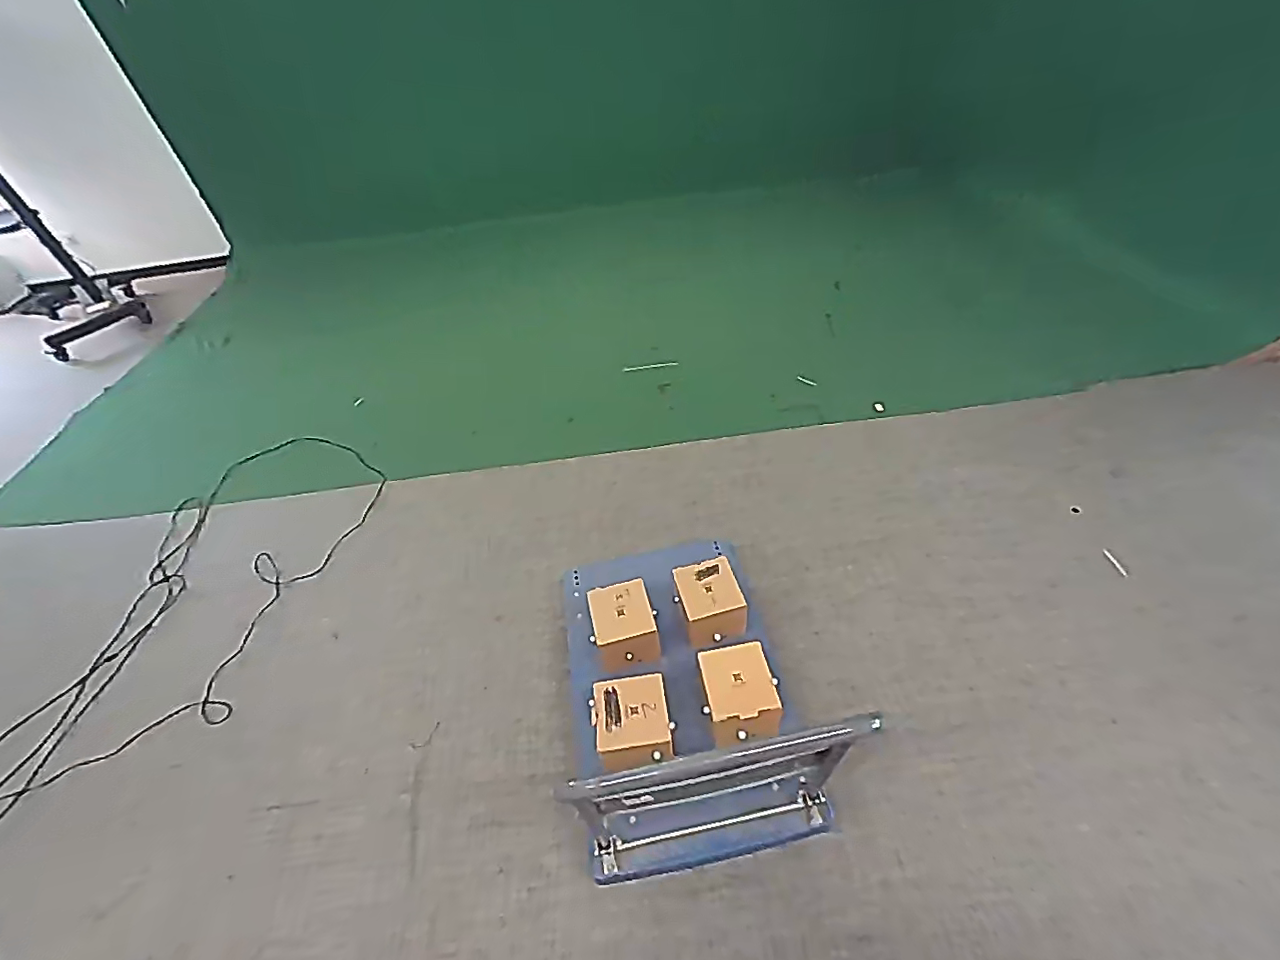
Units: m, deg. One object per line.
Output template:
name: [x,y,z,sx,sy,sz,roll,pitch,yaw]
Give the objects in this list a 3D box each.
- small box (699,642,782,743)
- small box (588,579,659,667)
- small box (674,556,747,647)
small box: [0.247,0.543,1.379,0.168,0.176,0.179,-10,46,-3]
small box: [-0.045,0.414,1.542,0.168,0.176,0.179,-13,46,-6]
small box: [0.200,0.354,1.567,0.168,0.176,0.179,-14,47,-5]
